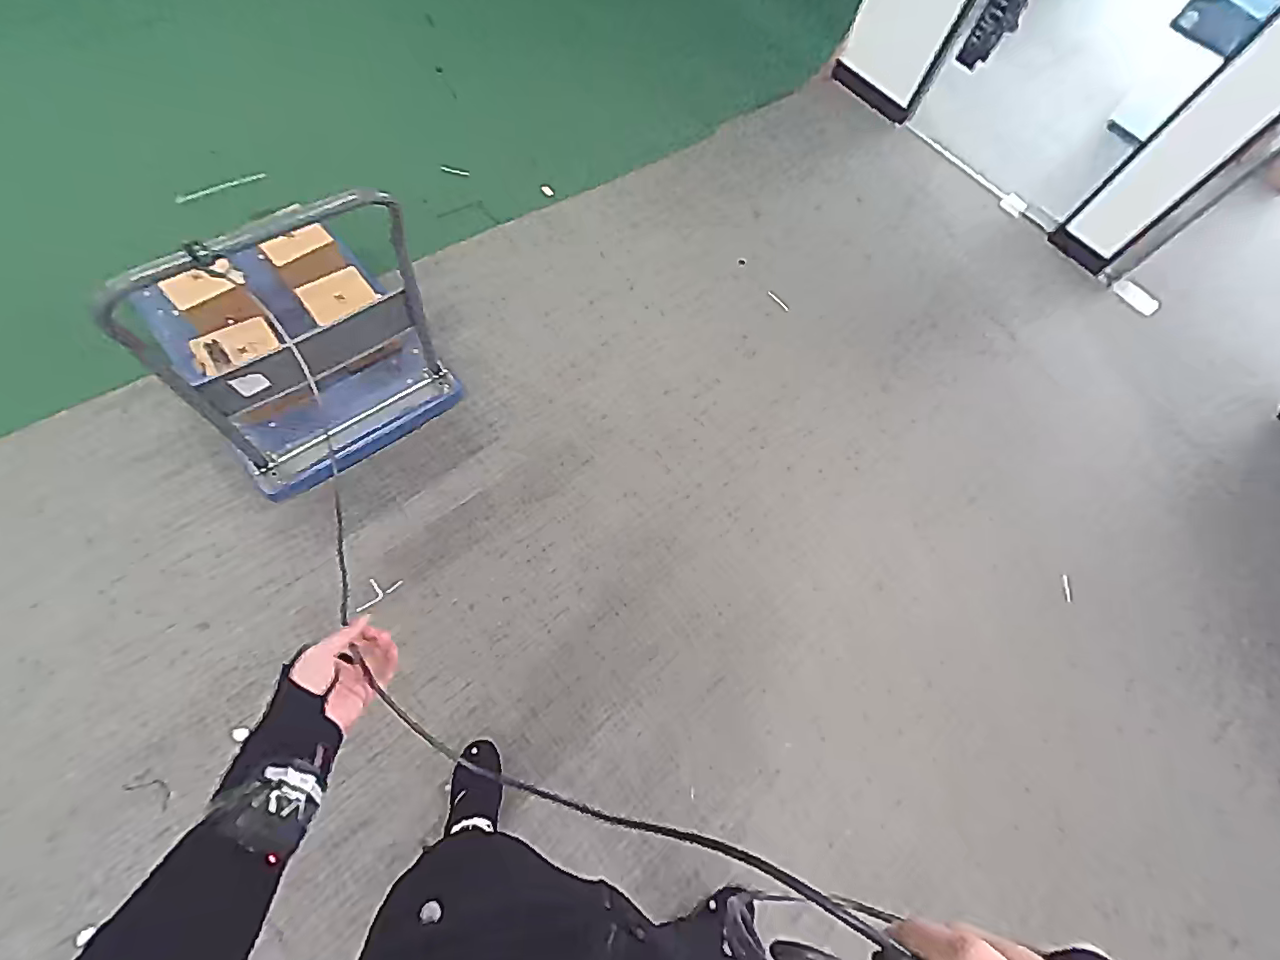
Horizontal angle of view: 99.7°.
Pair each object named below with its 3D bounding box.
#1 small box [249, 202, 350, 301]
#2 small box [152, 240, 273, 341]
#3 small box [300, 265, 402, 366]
[{"bbox_3d":[-0.969,-0.653,1.564,0.168,0.176,0.179,-40,79,-22],"label":"small box"},{"bbox_3d":[-1.146,-0.504,1.467,0.168,0.176,0.179,-39,77,-23],"label":"small box"},{"bbox_3d":[-0.796,-0.454,1.505,0.168,0.176,0.179,-35,77,-22],"label":"small box"}]
